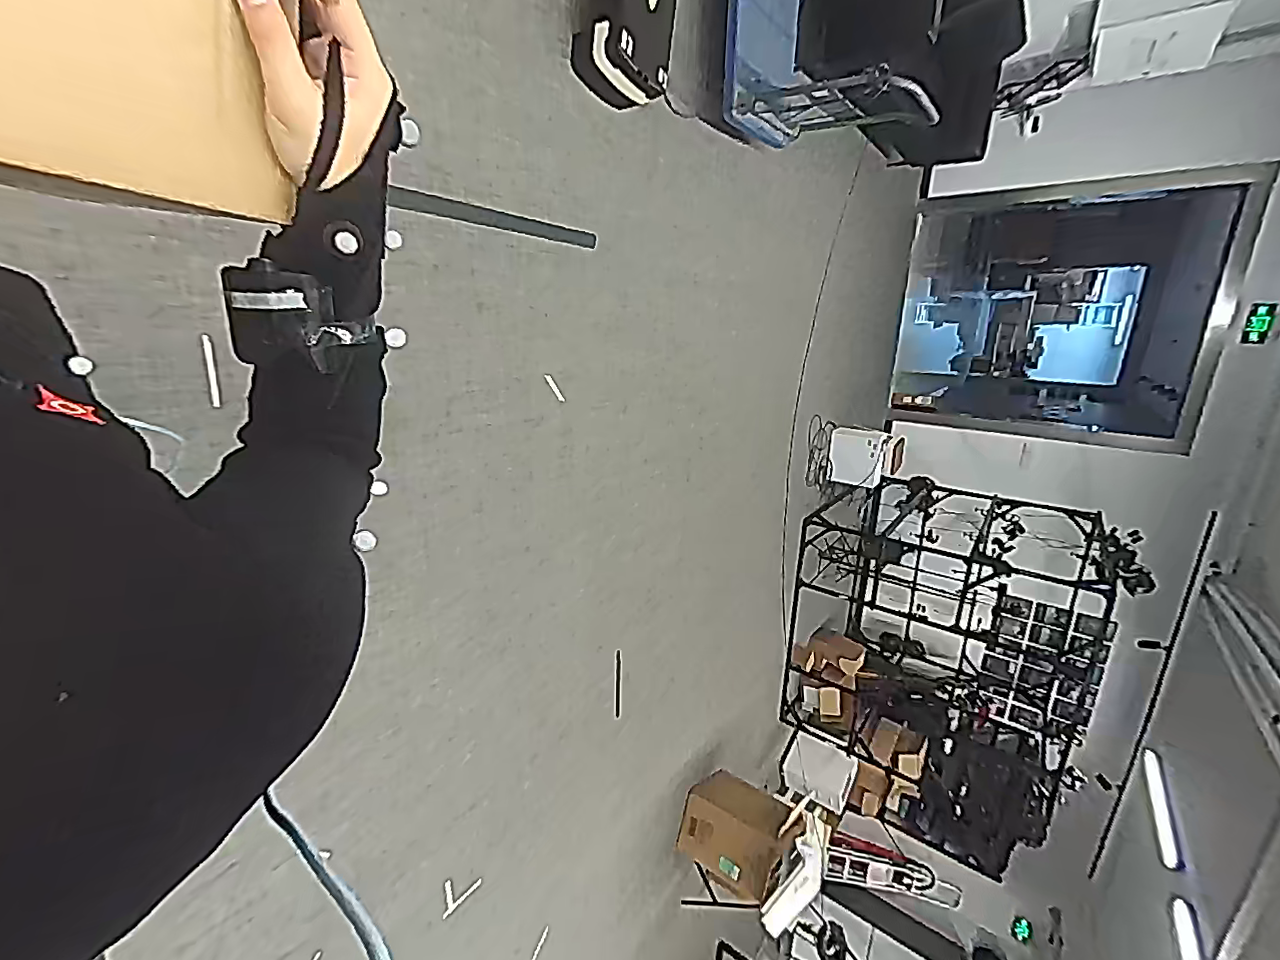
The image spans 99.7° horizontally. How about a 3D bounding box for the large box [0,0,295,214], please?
[{"bbox_3d":[-0.414,-0.309,0.186,0.408,0.320,0.320,-18,123,-58],"label":"large box"}]
